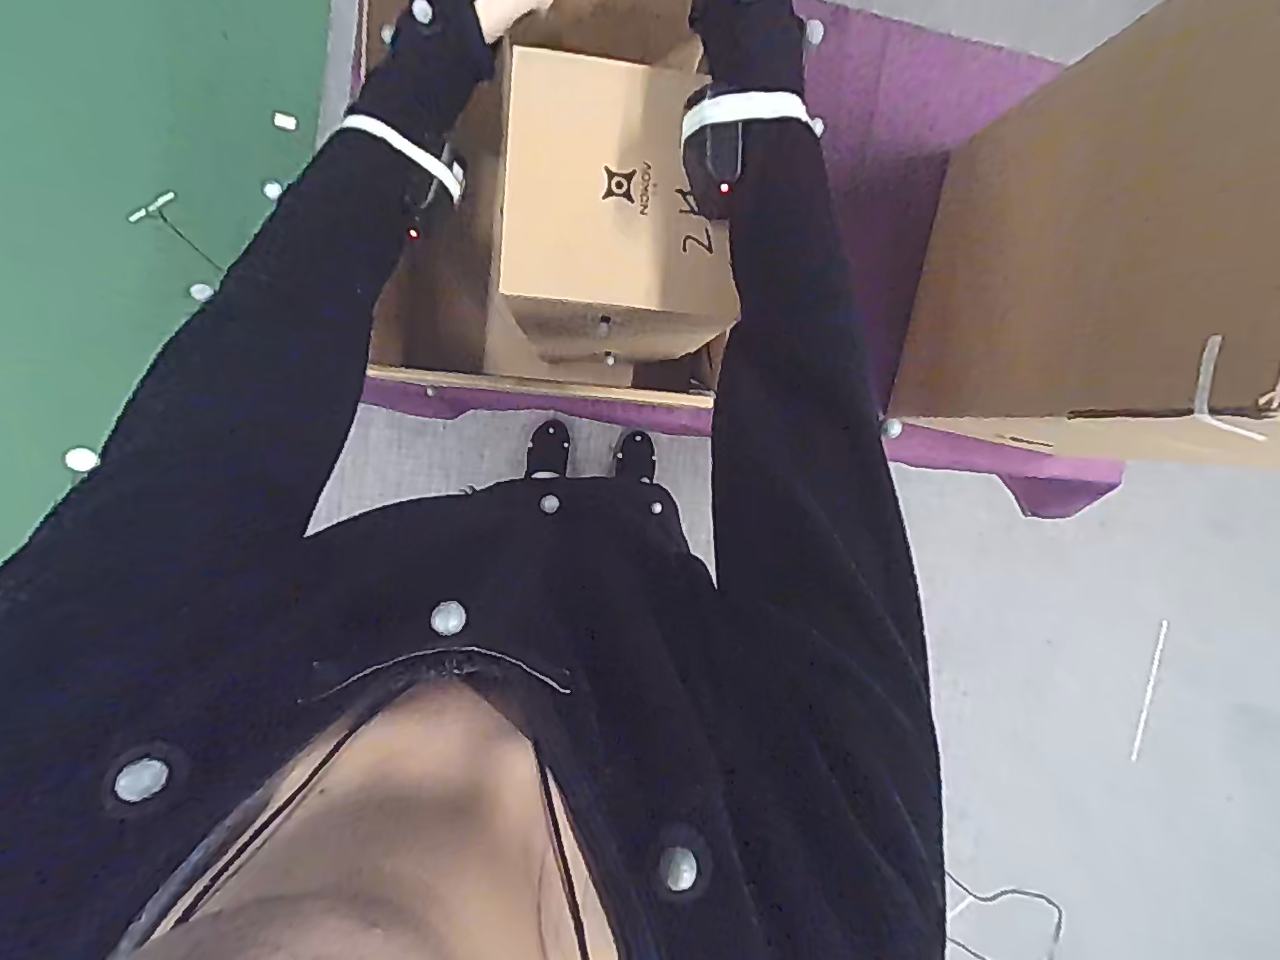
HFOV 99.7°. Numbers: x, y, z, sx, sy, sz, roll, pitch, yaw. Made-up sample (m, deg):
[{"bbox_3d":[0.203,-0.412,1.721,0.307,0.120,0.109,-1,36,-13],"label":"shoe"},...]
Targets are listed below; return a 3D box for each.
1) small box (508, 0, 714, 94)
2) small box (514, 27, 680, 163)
[{"bbox_3d":[-0.021,-0.459,0.434,0.168,0.176,0.179,5,99,-6],"label":"small box"},{"bbox_3d":[-0.043,-0.478,0.595,0.168,0.176,0.179,2,98,-6],"label":"small box"}]
